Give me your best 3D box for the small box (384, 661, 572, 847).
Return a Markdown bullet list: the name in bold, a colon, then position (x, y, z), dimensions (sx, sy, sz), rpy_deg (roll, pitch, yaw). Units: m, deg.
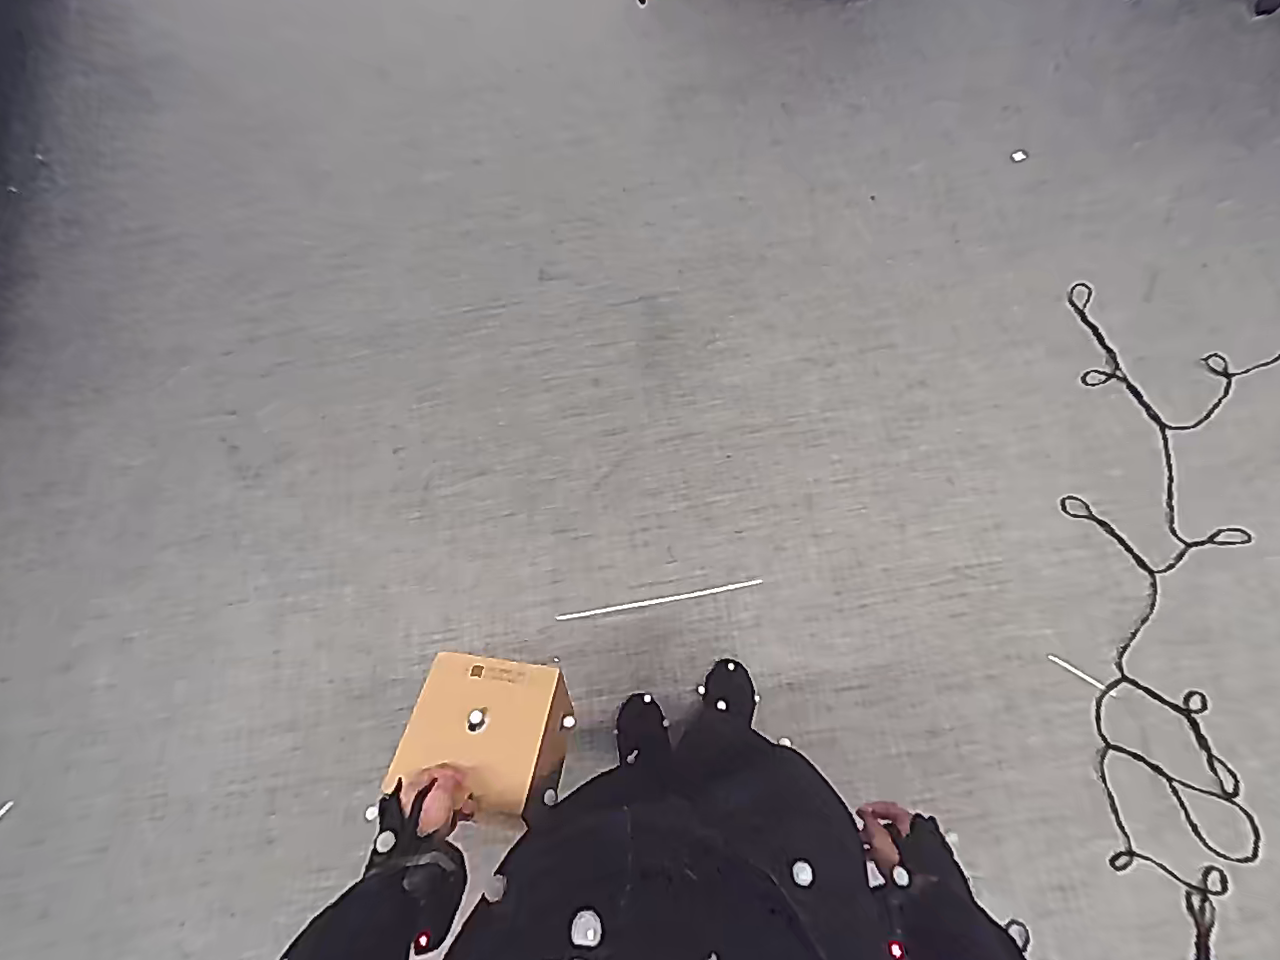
- **small box**: position (-0.192, 0.353, 0.703), dimensions (0.168, 0.179, 0.176), rpy_deg (5, 48, 6)
